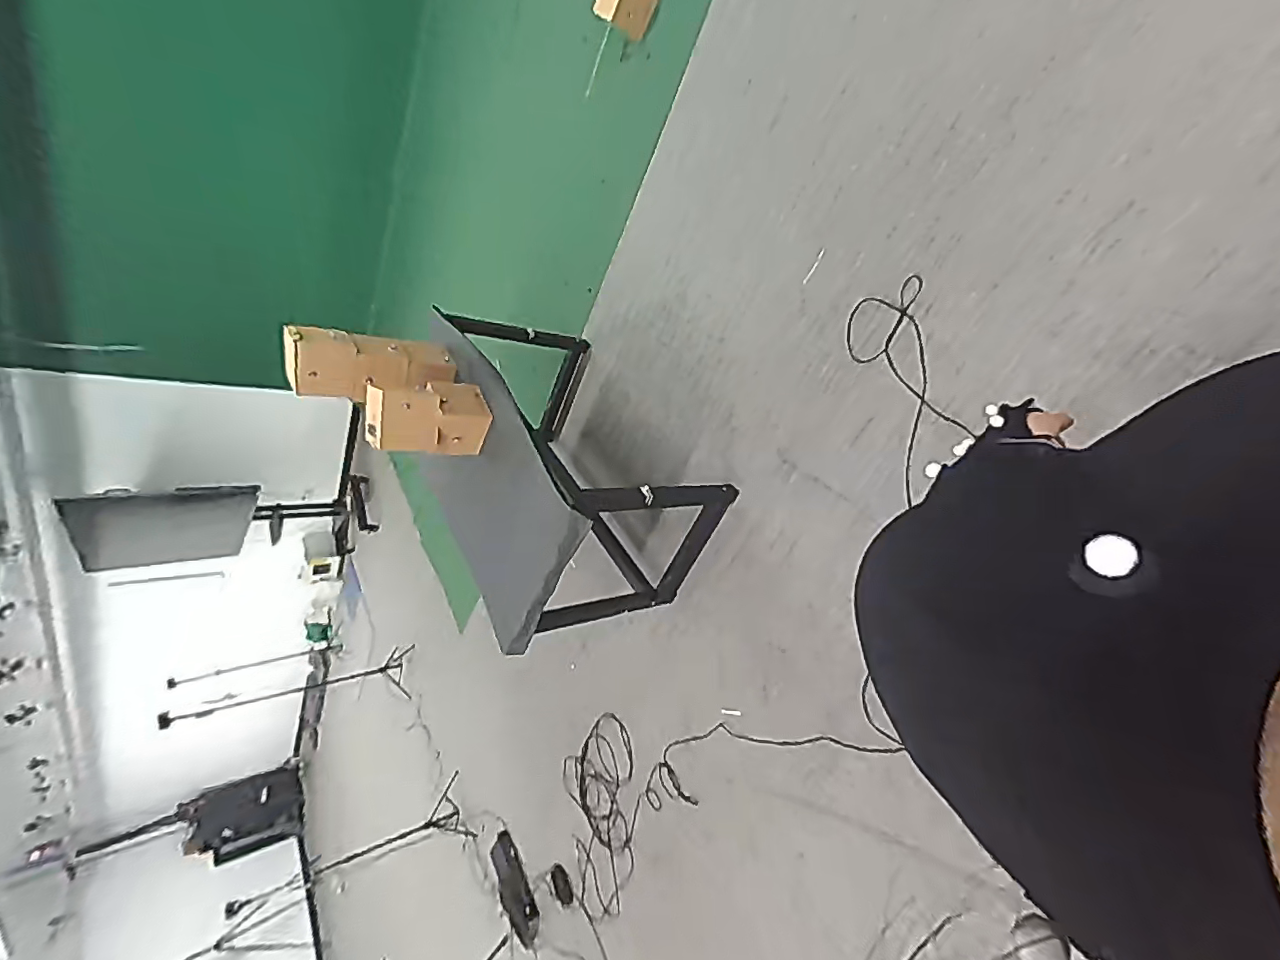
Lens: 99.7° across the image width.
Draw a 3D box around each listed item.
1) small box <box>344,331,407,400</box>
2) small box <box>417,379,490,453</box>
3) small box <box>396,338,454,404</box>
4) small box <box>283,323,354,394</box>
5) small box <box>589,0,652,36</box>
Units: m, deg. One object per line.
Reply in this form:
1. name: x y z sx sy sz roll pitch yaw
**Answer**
1. small box: -0.913 -0.387 1.852 0.168 0.176 0.179 44 123 36
2. small box: -0.607 -0.206 1.763 0.168 0.176 0.179 57 132 30
3. small box: -0.793 -0.393 1.961 0.168 0.176 0.179 49 128 34
4. small box: -1.036 -0.385 1.740 0.168 0.176 0.179 41 122 37
5. small box: -0.073 -1.962 2.207 0.168 0.176 0.179 -56 53 33
